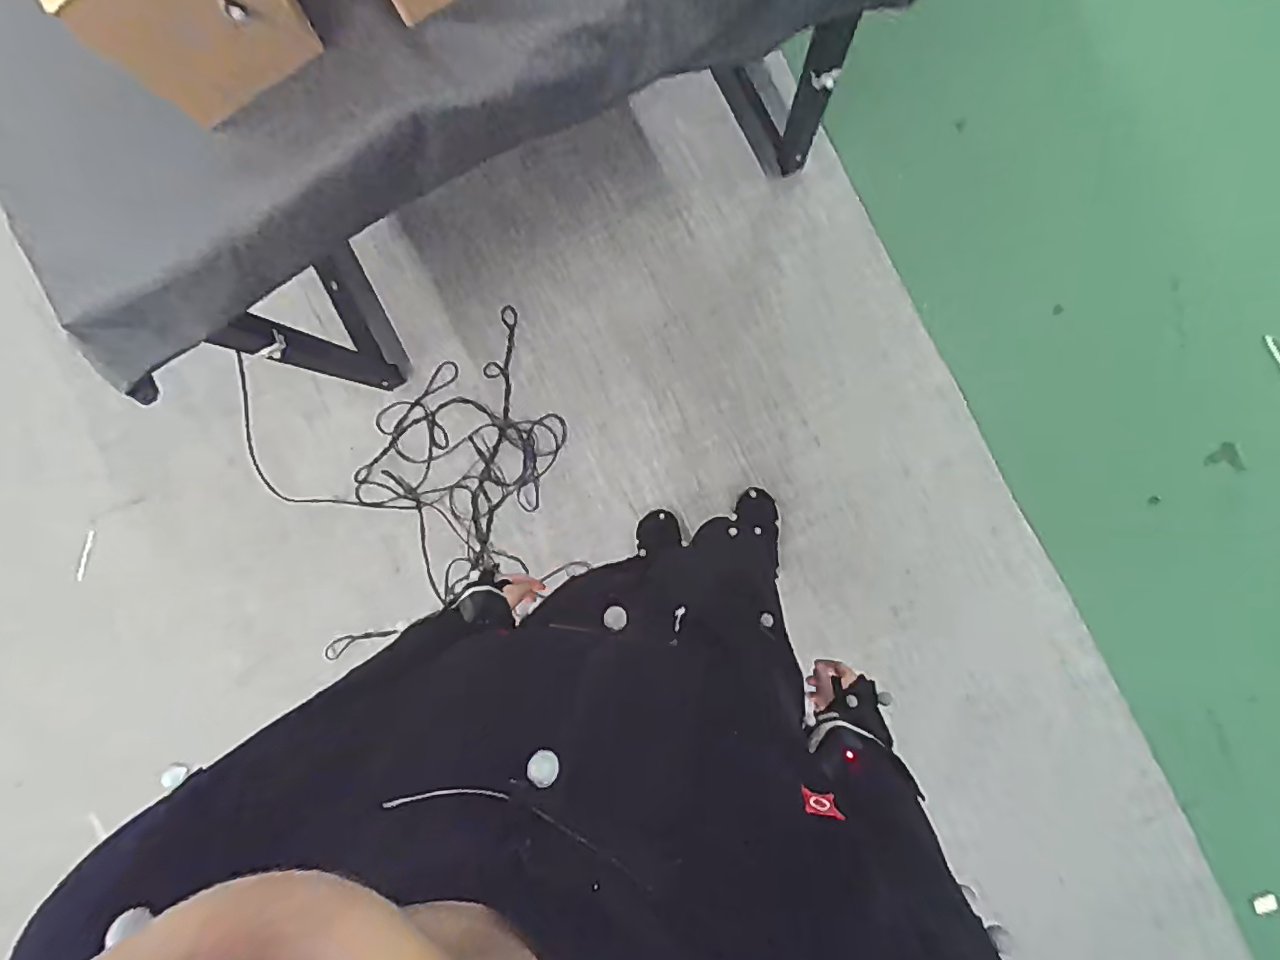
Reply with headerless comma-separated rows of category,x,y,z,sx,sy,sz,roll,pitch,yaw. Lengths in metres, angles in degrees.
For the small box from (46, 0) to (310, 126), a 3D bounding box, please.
small box,-0.490,-0.532,0.568,0.179,0.176,0.168,-31,87,5
